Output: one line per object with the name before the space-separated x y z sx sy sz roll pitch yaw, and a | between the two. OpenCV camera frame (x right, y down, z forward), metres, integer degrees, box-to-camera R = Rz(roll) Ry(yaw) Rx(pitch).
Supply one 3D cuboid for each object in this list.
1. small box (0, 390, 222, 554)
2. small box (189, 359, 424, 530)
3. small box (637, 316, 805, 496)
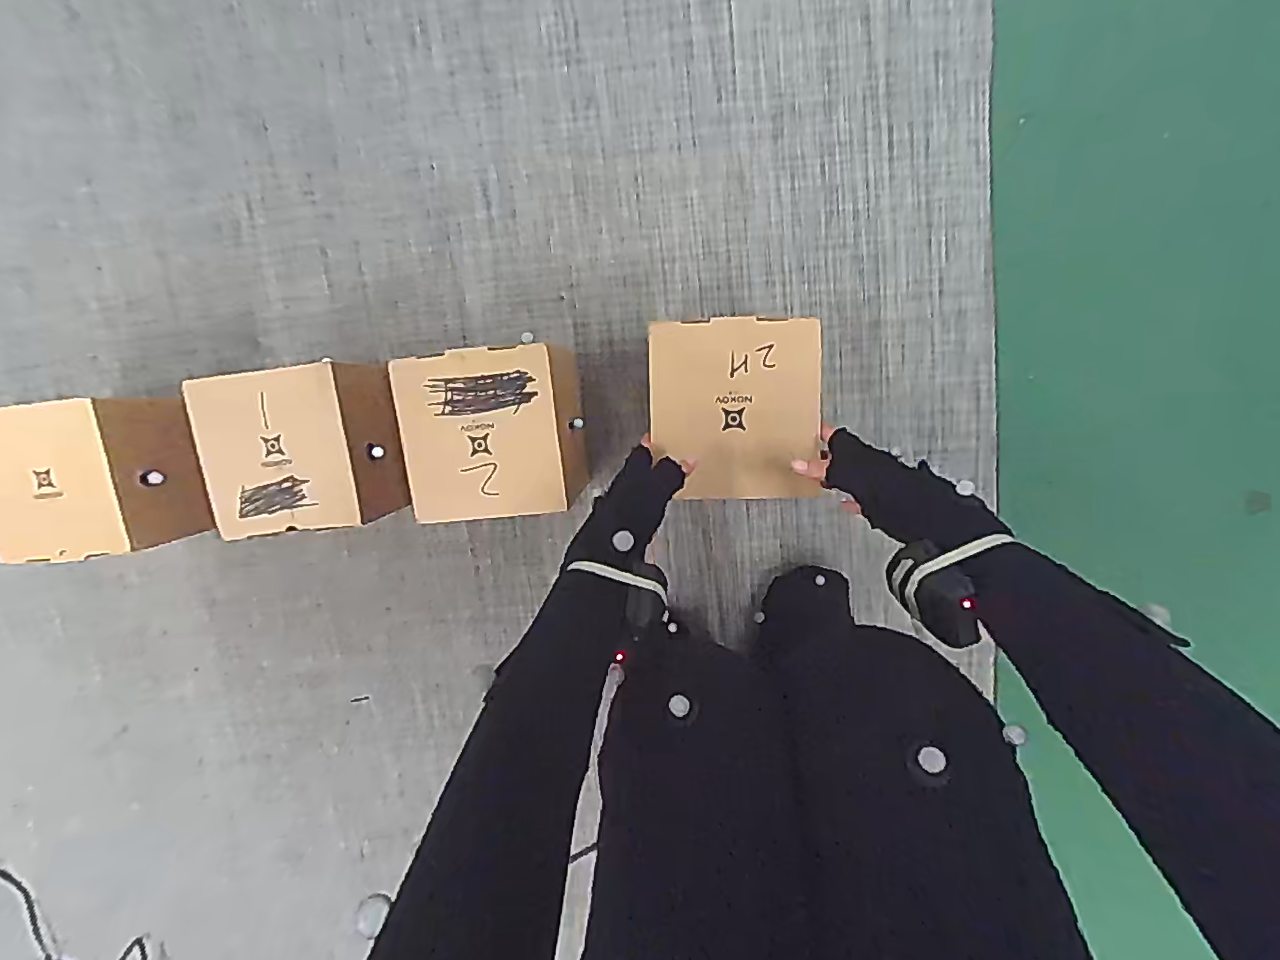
small box | -0.651 -0.018 0.688 0.168 0.176 0.179 -5 99 5
small box | -0.387 -0.048 0.662 0.168 0.176 0.179 -6 98 6
small box | 0.084 -0.076 0.611 0.168 0.176 0.179 -1 92 3
